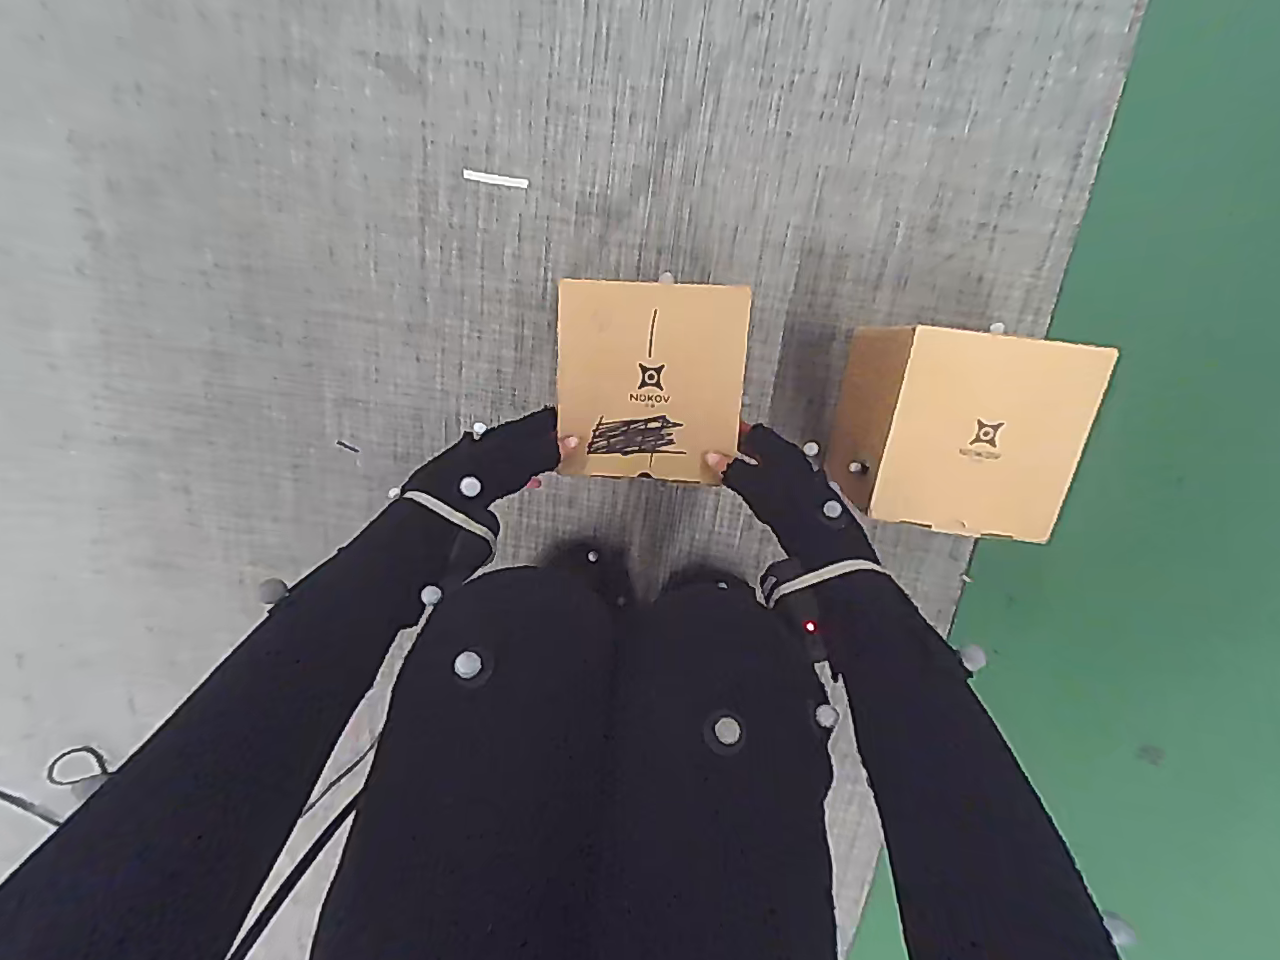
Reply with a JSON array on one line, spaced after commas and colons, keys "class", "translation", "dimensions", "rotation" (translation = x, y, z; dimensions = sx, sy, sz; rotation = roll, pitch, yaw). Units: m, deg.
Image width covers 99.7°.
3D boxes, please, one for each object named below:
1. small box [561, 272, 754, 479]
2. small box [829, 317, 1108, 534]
[{"class": "small box", "translation": [0.018, -0.111, 0.560], "dimensions": [0.168, 0.176, 0.179], "rotation": [4, 105, 3]}, {"class": "small box", "translation": [0.307, -0.064, 0.552], "dimensions": [0.168, 0.176, 0.179], "rotation": [8, 106, 4]}]
